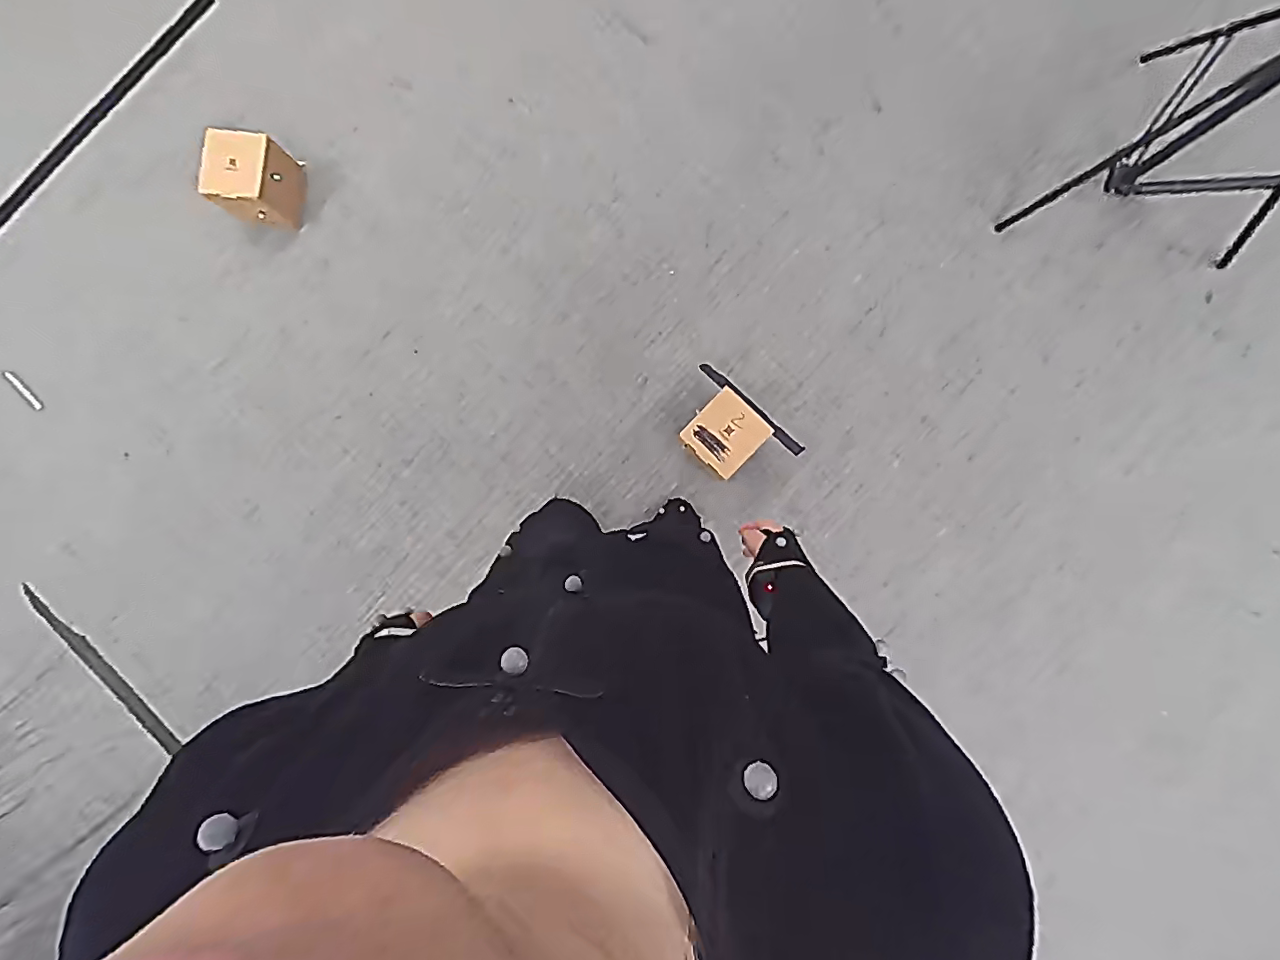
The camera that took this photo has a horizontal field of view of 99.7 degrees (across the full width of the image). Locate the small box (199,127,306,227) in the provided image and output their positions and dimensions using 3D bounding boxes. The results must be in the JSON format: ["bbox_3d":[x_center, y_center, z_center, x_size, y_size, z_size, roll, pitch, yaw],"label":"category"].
[{"bbox_3d":[-1.055,-0.823,1.484,0.168,0.176,0.179,7,88,2],"label":"small box"}]
